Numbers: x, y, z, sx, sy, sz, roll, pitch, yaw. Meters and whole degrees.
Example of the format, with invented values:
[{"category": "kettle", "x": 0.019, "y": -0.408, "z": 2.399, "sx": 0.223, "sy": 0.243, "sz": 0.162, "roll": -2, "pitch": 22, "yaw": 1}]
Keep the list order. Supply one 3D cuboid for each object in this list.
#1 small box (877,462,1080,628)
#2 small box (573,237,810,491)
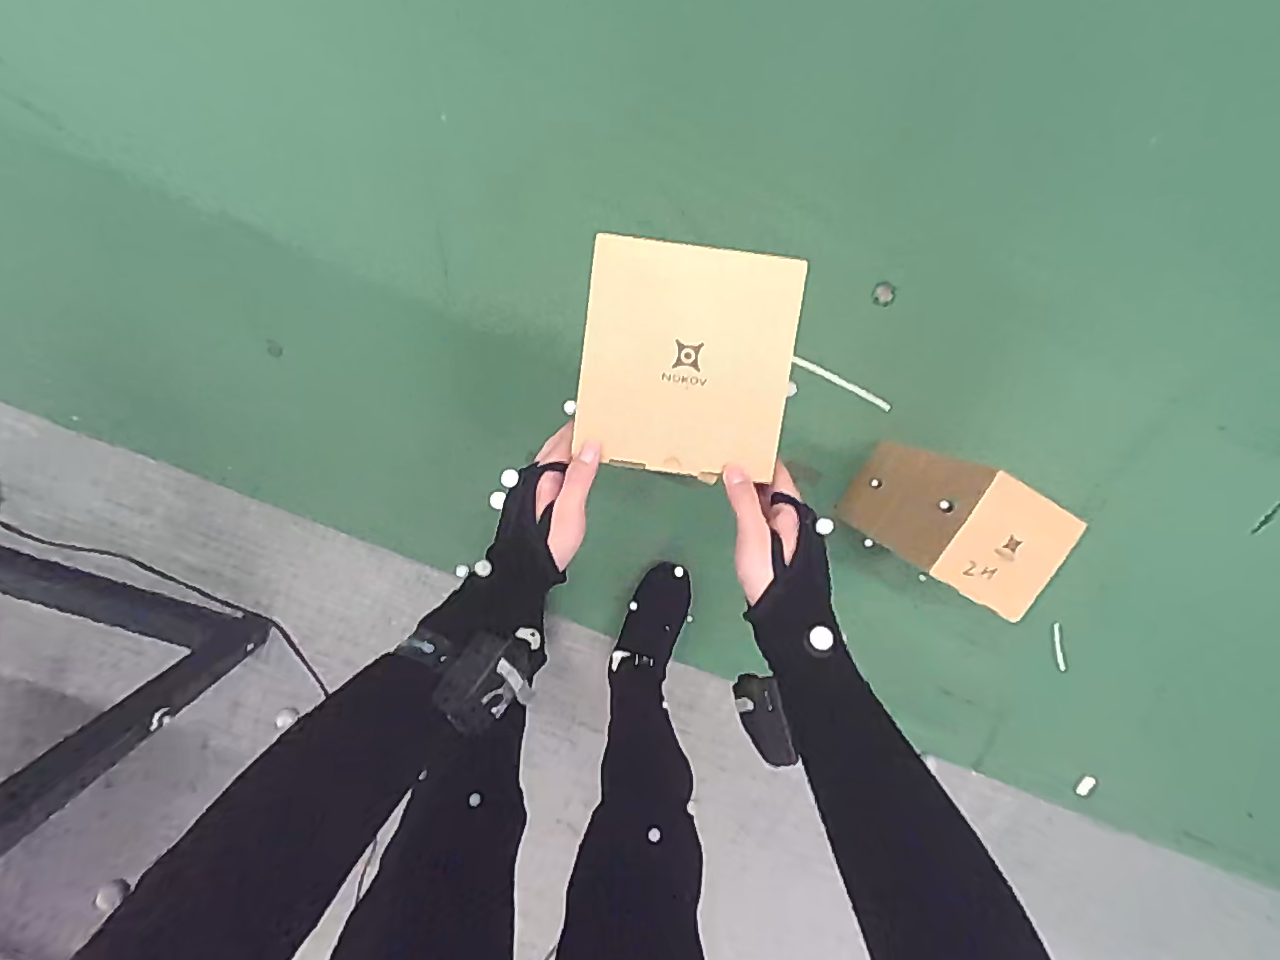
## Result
[{"category": "small box", "x": 0.510, "y": 0.090, "z": 0.846, "sx": 0.168, "sy": 0.176, "sz": 0.179, "roll": 30, "pitch": 98, "yaw": -8}, {"category": "small box", "x": 0.037, "y": -0.098, "z": 0.497, "sx": 0.168, "sy": 0.176, "sz": 0.179, "roll": 7, "pitch": 98, "yaw": -2}]
